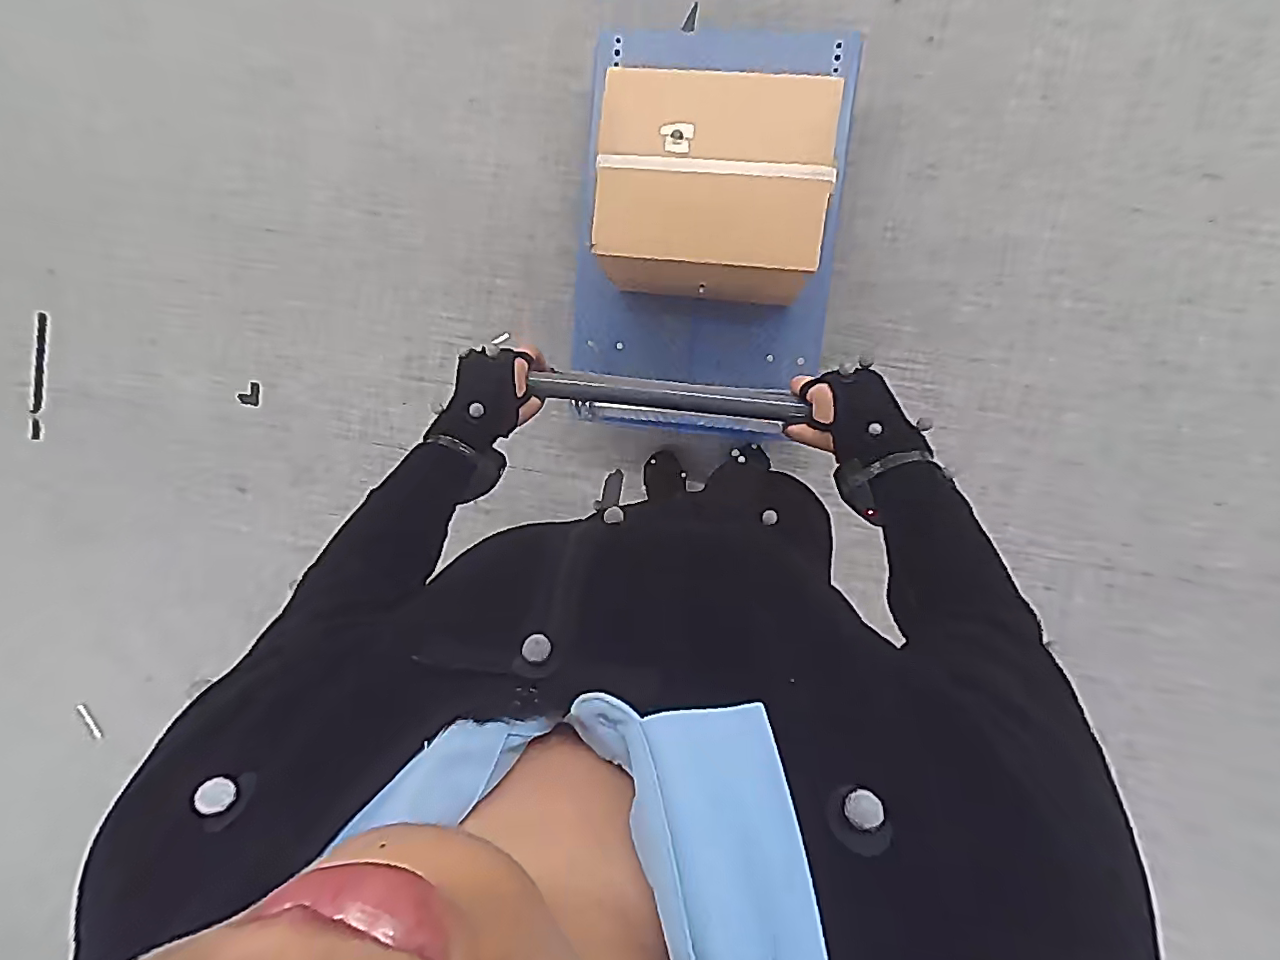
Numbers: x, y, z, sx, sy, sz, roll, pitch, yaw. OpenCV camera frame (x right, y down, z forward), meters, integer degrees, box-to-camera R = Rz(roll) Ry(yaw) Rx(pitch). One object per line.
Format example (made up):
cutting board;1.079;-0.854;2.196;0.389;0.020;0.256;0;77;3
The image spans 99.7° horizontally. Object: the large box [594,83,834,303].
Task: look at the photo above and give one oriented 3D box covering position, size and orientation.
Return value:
large box;0.144;-0.557;1.105;0.408;0.320;0.320;7;97;7
